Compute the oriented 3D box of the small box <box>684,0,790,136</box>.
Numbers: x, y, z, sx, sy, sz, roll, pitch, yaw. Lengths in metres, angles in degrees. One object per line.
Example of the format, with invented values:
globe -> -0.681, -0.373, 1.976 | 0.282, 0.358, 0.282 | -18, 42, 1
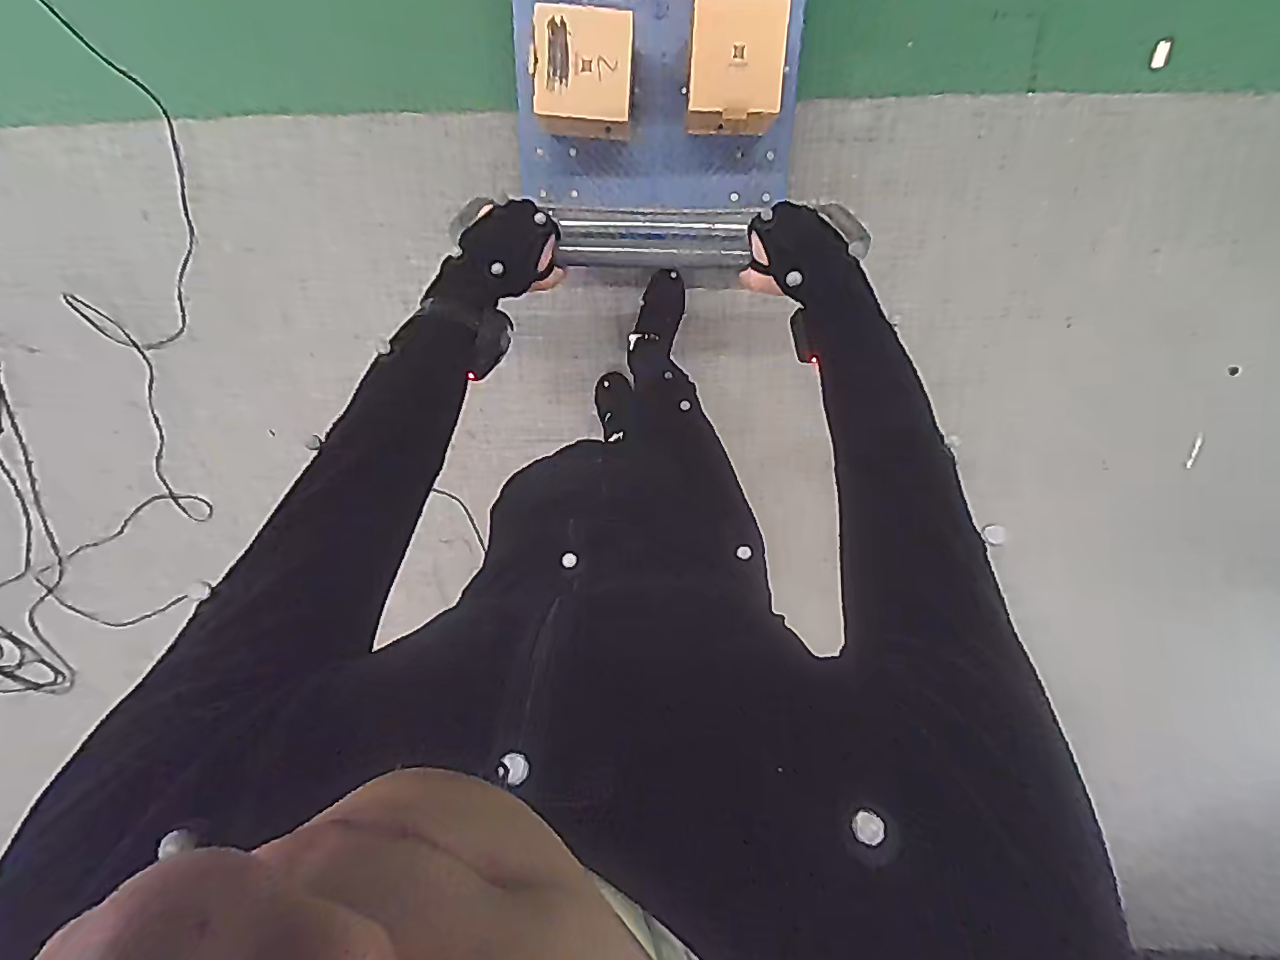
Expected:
small box -> 0.173, -0.776, 1.027 | 0.168, 0.176, 0.179 | 1, 113, 0
